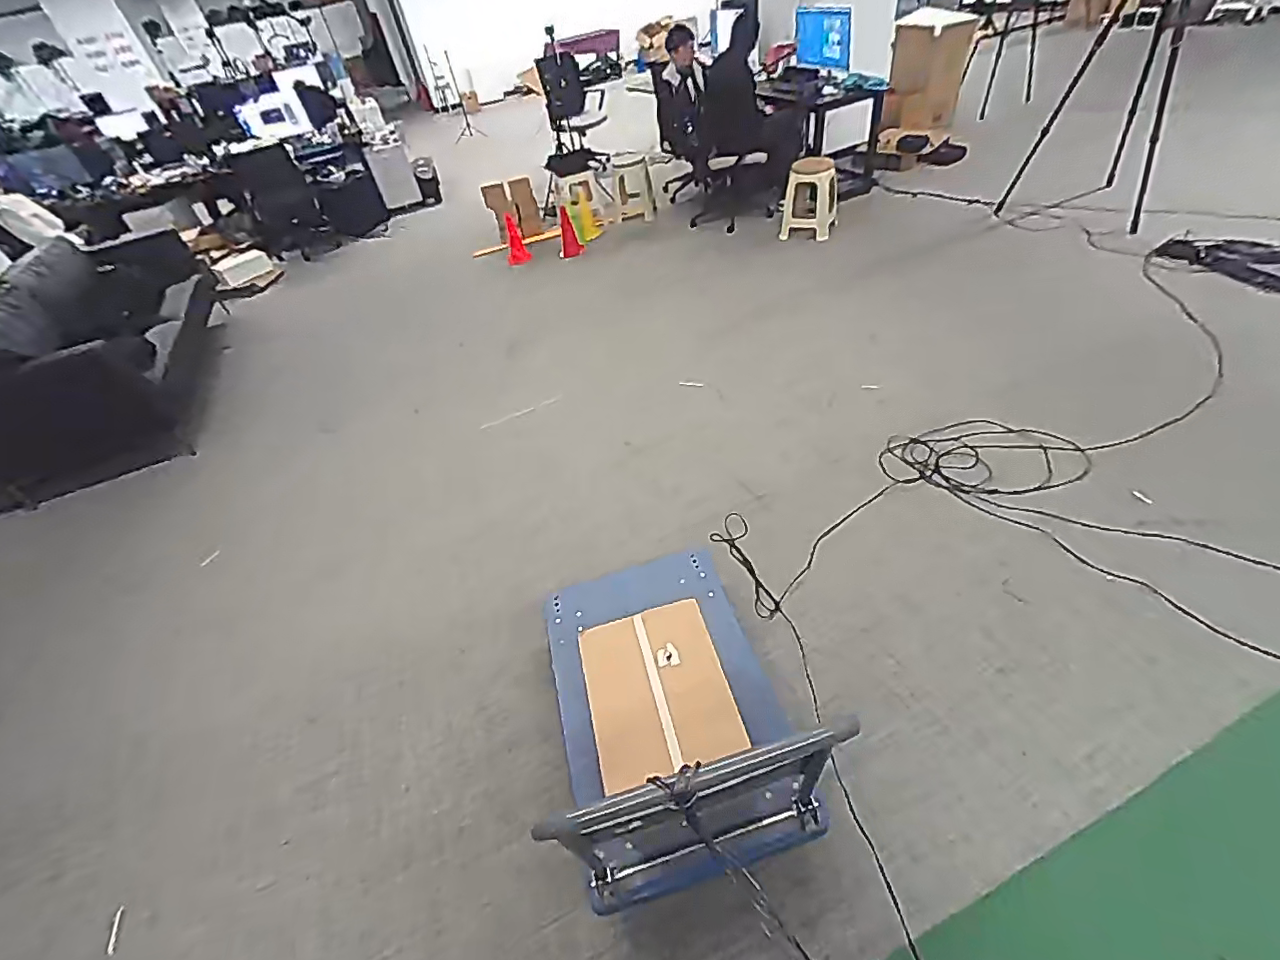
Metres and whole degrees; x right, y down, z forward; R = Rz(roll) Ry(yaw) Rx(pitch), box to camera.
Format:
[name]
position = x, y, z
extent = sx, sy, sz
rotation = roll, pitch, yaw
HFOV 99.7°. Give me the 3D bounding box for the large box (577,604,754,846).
[large box]
position = 0.059, 0.590, 1.324
extent = 0.320, 0.320, 0.408
rotation = -15, 42, -5
